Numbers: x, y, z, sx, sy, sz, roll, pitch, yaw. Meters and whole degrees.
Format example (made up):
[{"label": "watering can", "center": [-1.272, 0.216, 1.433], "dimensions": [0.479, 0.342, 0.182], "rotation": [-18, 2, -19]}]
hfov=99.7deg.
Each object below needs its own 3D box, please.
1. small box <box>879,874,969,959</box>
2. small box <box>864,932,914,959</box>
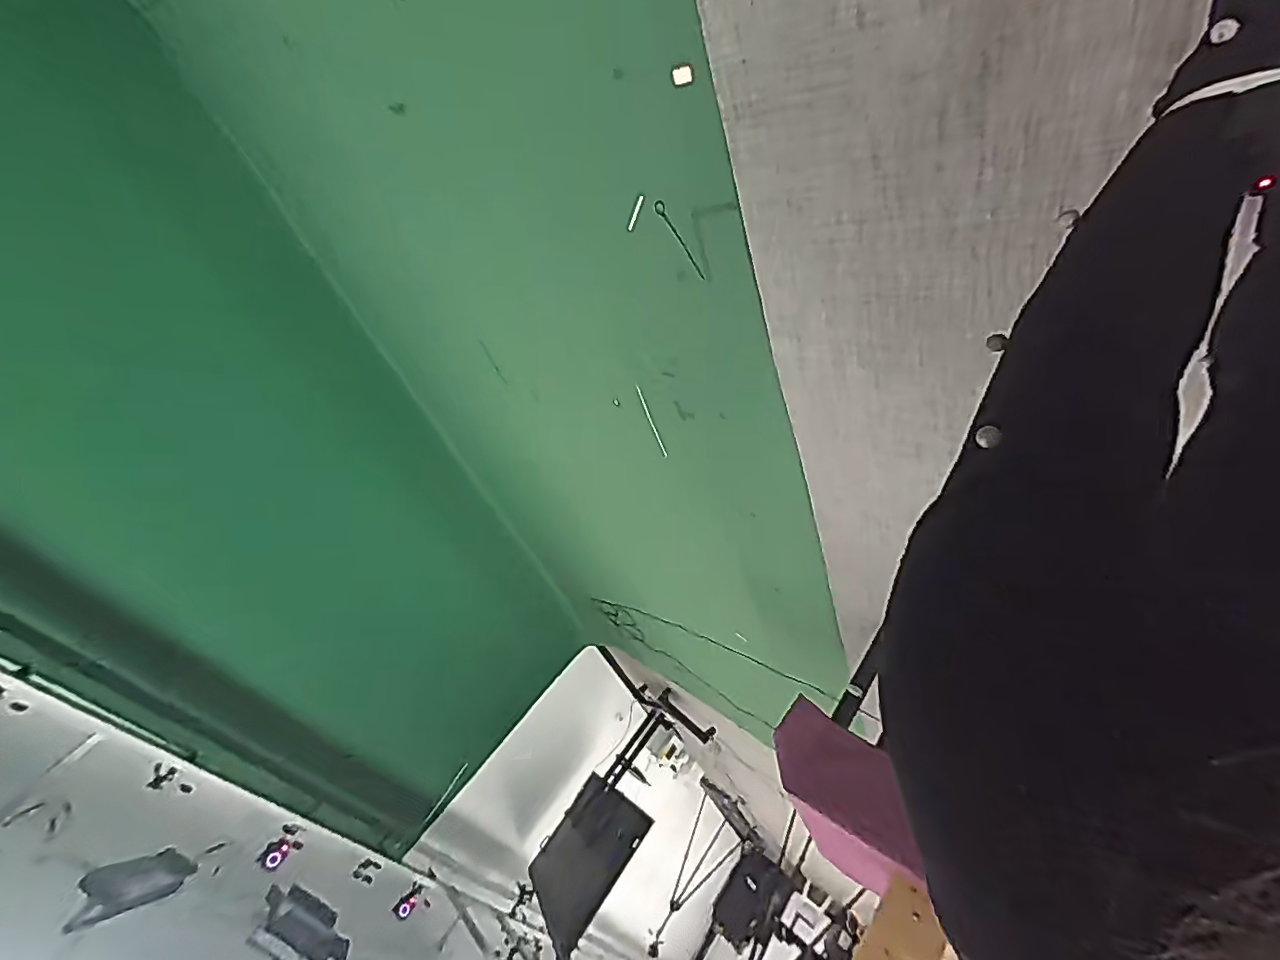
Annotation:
[{"label": "small box", "center": [0.764, 1.209, 1.450], "dimensions": [0.168, 0.176, 0.179], "rotation": [16, 144, 44]}, {"label": "small box", "center": [0.662, 1.320, 1.388], "dimensions": [0.168, 0.176, 0.179], "rotation": [16, 142, 44]}]
